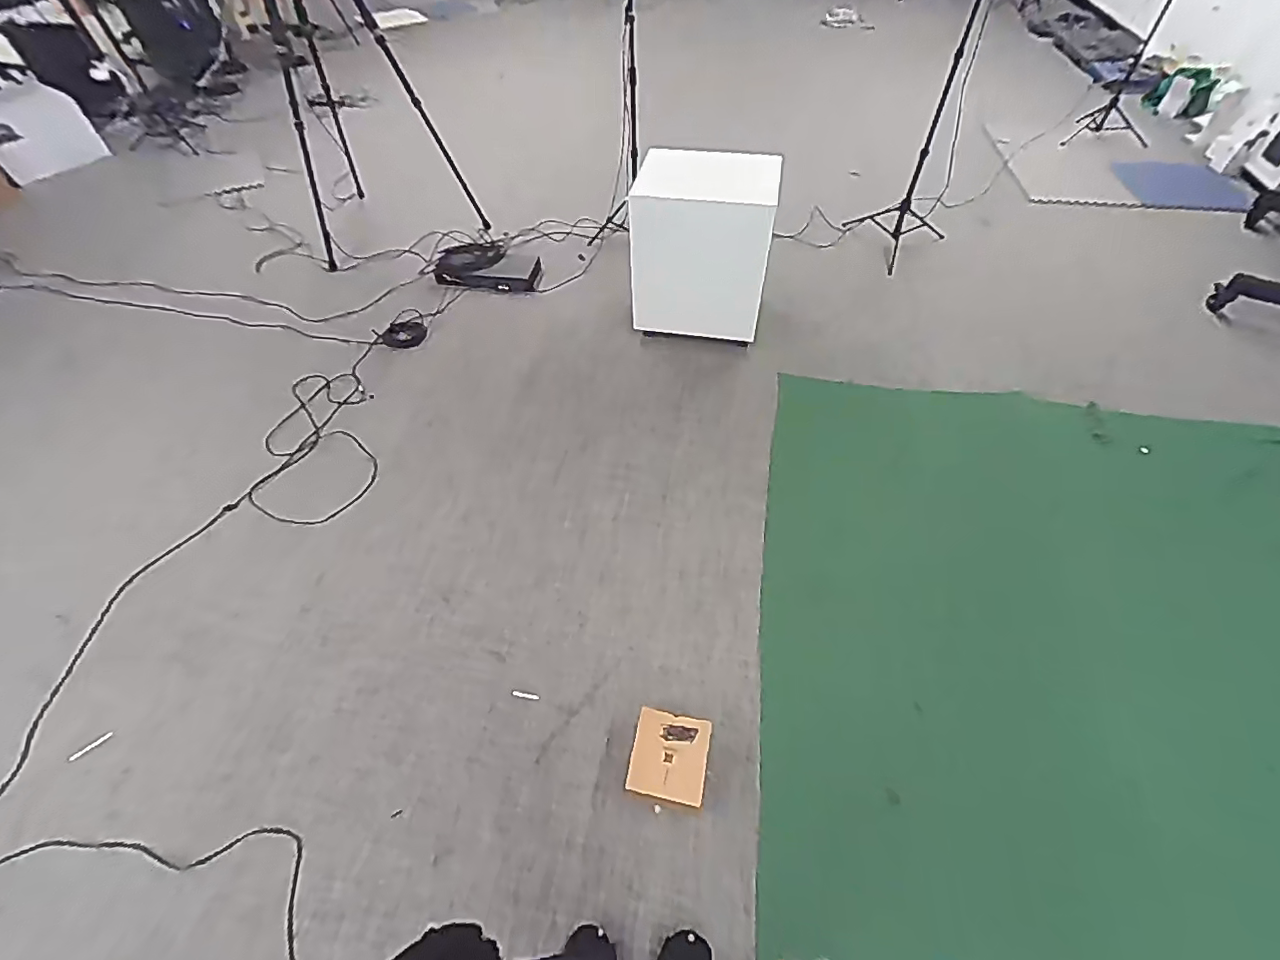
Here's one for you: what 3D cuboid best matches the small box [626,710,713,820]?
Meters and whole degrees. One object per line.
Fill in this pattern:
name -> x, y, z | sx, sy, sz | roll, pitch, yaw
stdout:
small box -> 0.068, 0.658, 1.245 | 0.168, 0.176, 0.179 | 9, 53, 9
